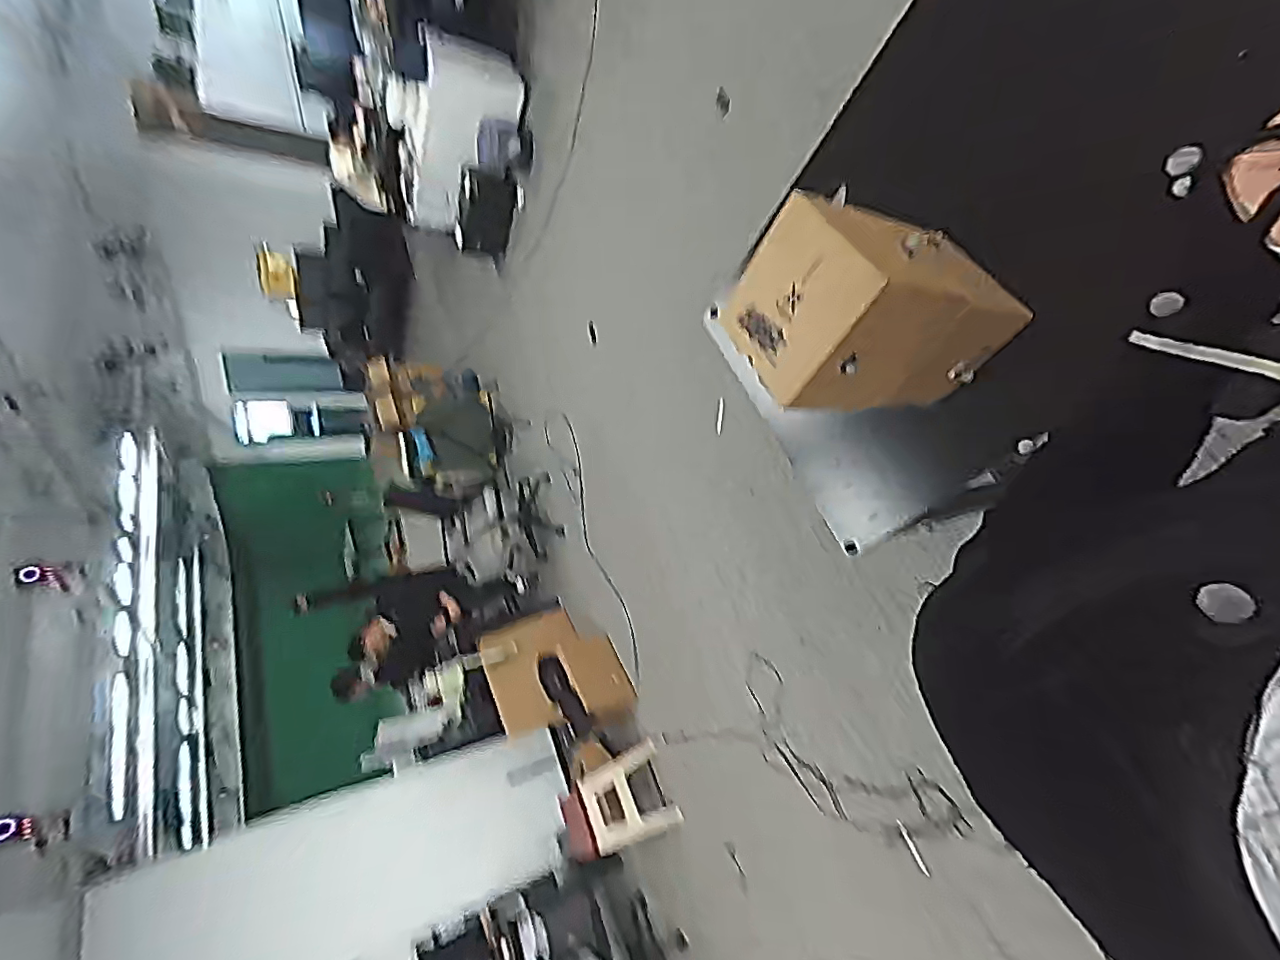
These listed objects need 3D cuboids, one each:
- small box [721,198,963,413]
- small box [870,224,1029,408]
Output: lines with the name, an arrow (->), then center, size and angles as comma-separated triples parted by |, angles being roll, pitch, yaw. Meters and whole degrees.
small box -> 0.235, -0.197, 0.649 | 0.168, 0.176, 0.179 | 63, 141, 29
small box -> 0.371, -0.215, 0.740 | 0.179, 0.176, 0.168 | 62, 142, 28
